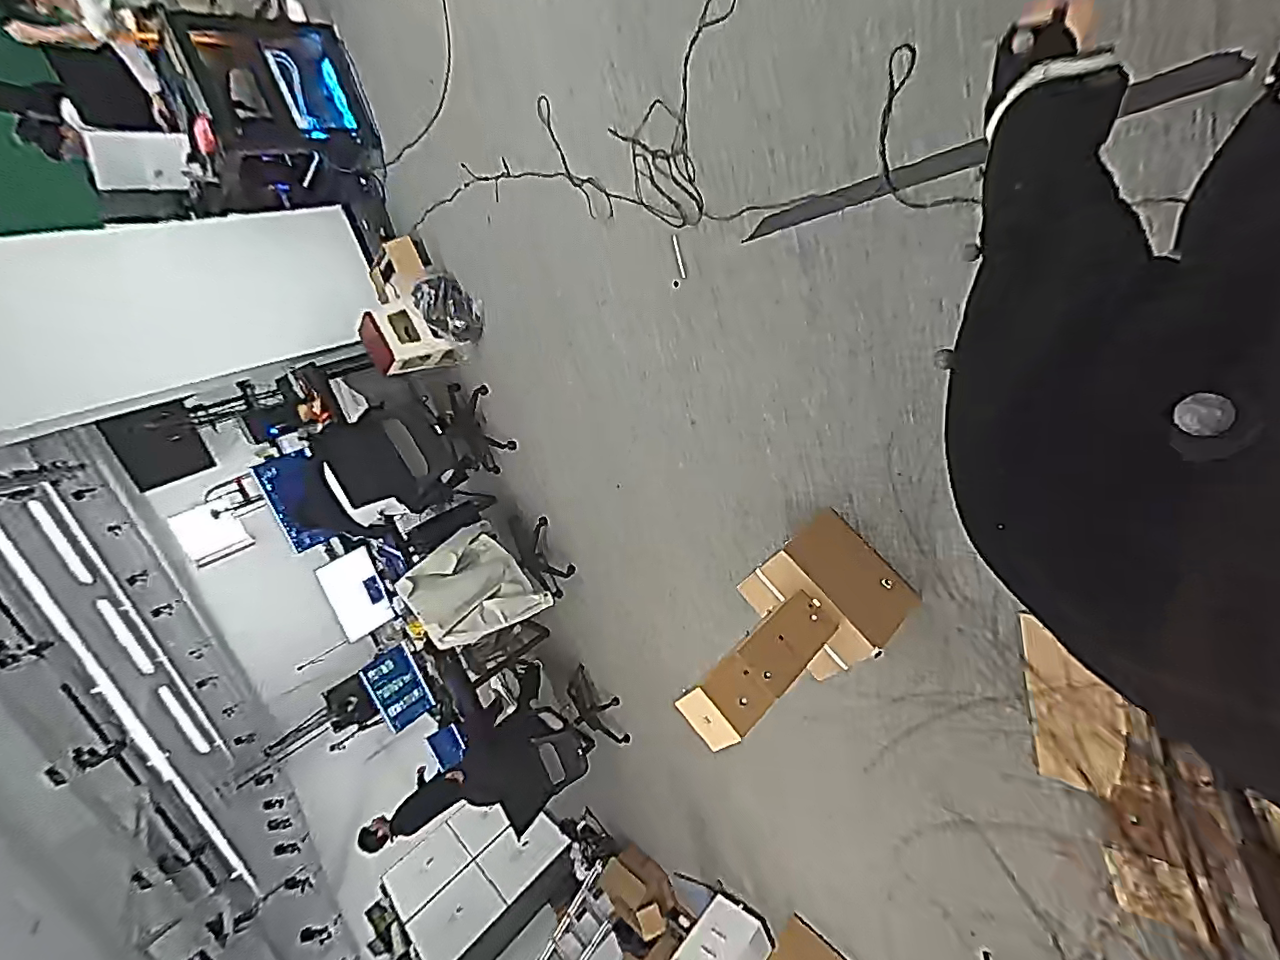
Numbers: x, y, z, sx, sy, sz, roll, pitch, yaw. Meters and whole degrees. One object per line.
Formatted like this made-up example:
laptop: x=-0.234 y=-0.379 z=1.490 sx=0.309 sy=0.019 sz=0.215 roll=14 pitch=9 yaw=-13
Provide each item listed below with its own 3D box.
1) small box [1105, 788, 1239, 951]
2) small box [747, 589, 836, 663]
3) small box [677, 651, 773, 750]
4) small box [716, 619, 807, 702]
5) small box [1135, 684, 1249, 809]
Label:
small box: x=1.081 y=0.774 z=1.098 sx=0.168 sy=0.176 sz=0.179 roll=-11 pitch=107 yaw=53
small box: x=0.470 y=0.469 z=1.671 sx=0.168 sy=0.176 sz=0.179 roll=48 pitch=142 yaw=16
small box: x=0.237 y=0.600 z=1.482 sx=0.168 sy=0.176 sz=0.179 roll=48 pitch=143 yaw=16
small box: x=0.353 y=0.538 z=1.578 sx=0.168 sy=0.176 sz=0.179 roll=48 pitch=144 yaw=15
small box: x=1.307 y=0.620 z=1.279 sx=0.168 sy=0.176 sz=0.179 roll=-10 pitch=106 yaw=51
